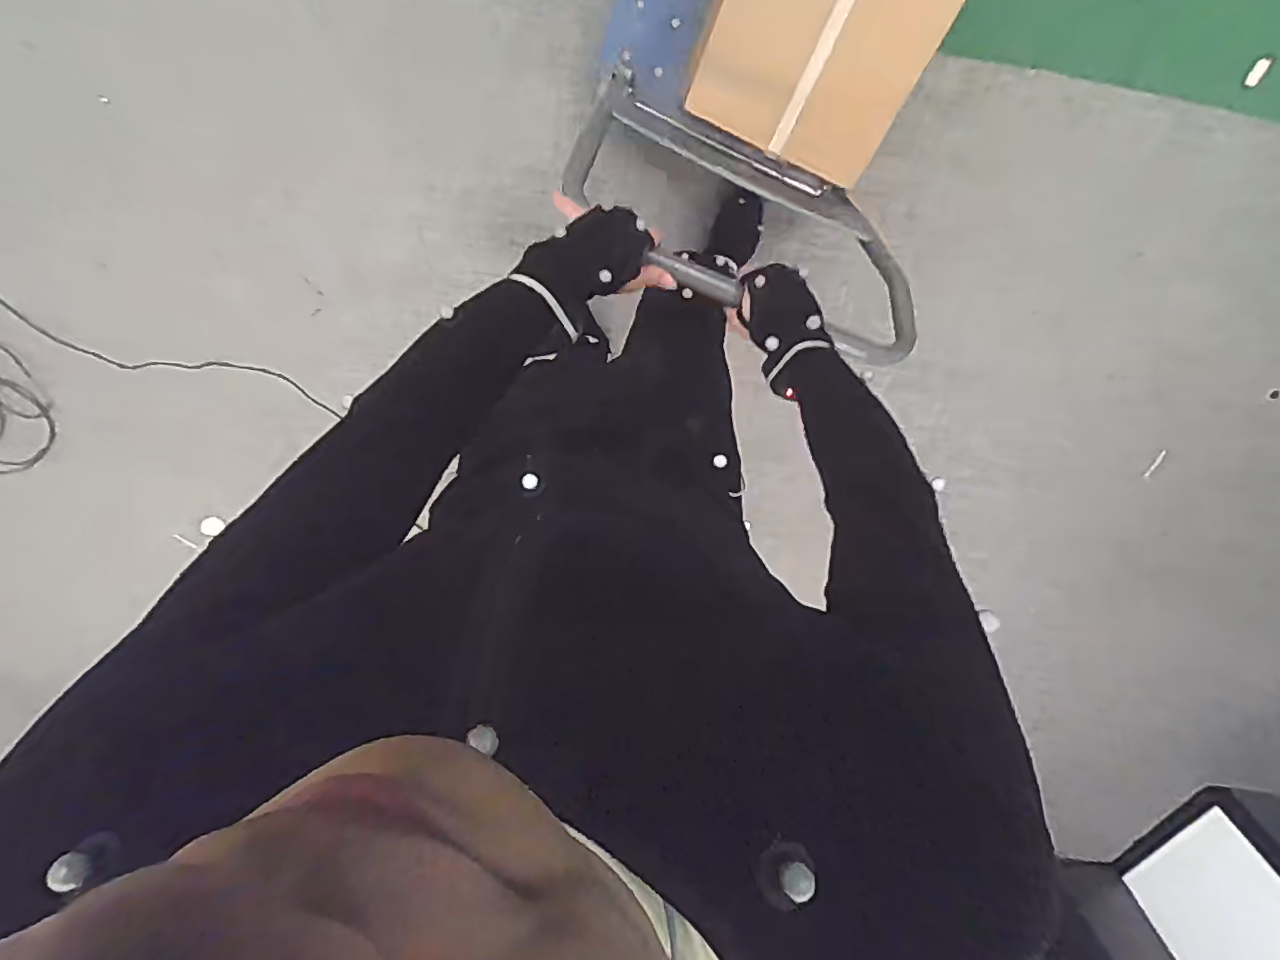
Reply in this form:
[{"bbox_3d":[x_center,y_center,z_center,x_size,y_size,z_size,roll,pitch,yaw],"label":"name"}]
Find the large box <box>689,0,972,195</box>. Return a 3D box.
[{"bbox_3d":[0.296,-0.753,0.869,0.320,0.320,0.408,19,128,-13],"label":"large box"}]
